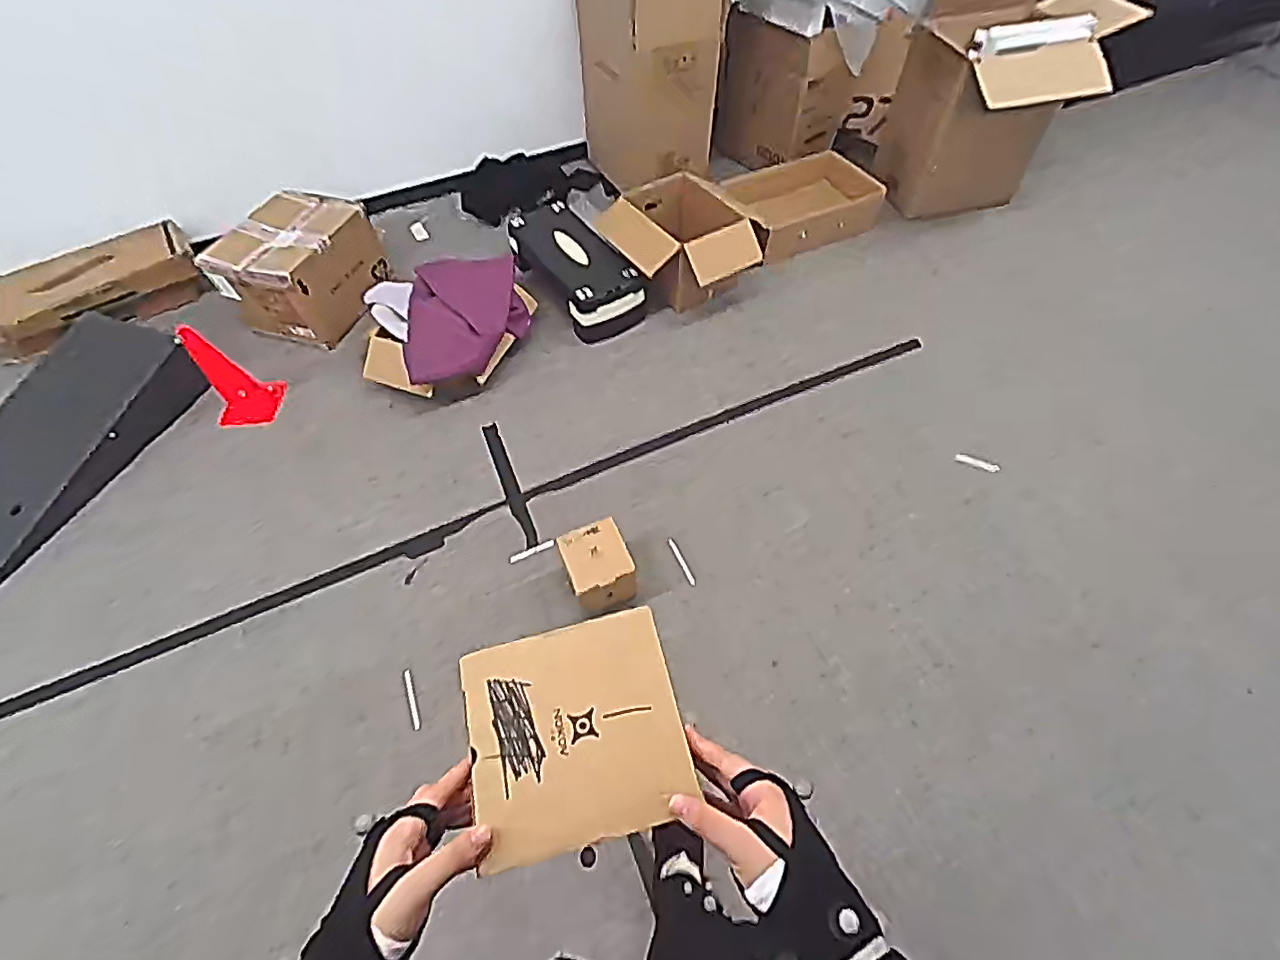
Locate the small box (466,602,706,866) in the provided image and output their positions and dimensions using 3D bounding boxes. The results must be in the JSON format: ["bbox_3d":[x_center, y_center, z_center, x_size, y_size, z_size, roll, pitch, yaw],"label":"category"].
[{"bbox_3d":[-0.044,0.237,0.507,0.179,0.176,0.168,-15,60,-4],"label":"small box"}]

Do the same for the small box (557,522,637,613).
[{"bbox_3d":[-0.114,0.248,1.487,0.168,0.176,0.179,-21,59,-11],"label":"small box"}]
